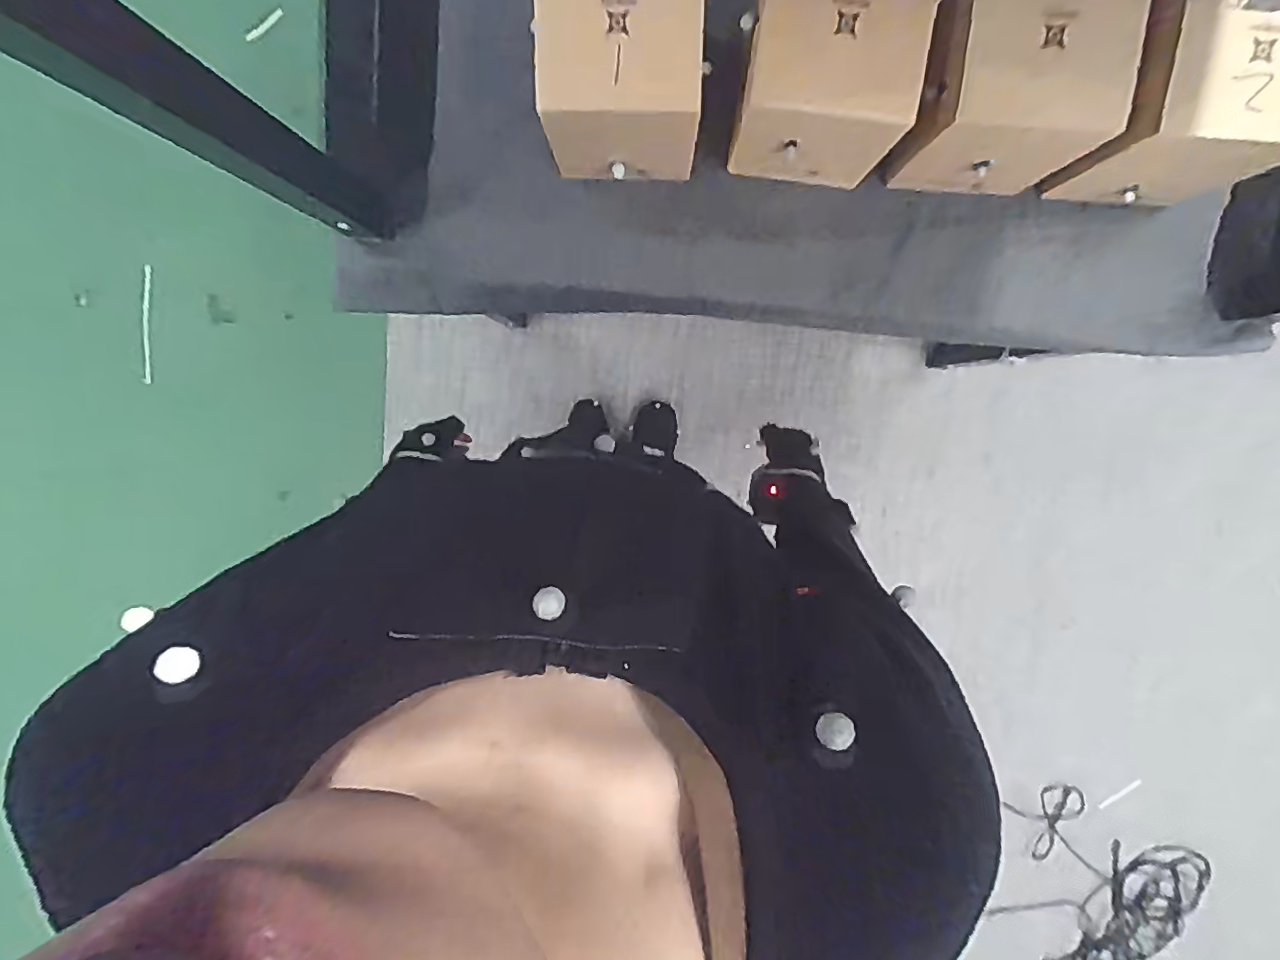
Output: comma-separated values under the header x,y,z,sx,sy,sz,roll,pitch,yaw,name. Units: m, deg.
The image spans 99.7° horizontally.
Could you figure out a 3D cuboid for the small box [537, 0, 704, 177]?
x,y,z,sx,sy,sz,roll,pitch,yaw,name
-0.018,-0.469,0.606,0.168,0.176,0.179,1,99,1,small box
